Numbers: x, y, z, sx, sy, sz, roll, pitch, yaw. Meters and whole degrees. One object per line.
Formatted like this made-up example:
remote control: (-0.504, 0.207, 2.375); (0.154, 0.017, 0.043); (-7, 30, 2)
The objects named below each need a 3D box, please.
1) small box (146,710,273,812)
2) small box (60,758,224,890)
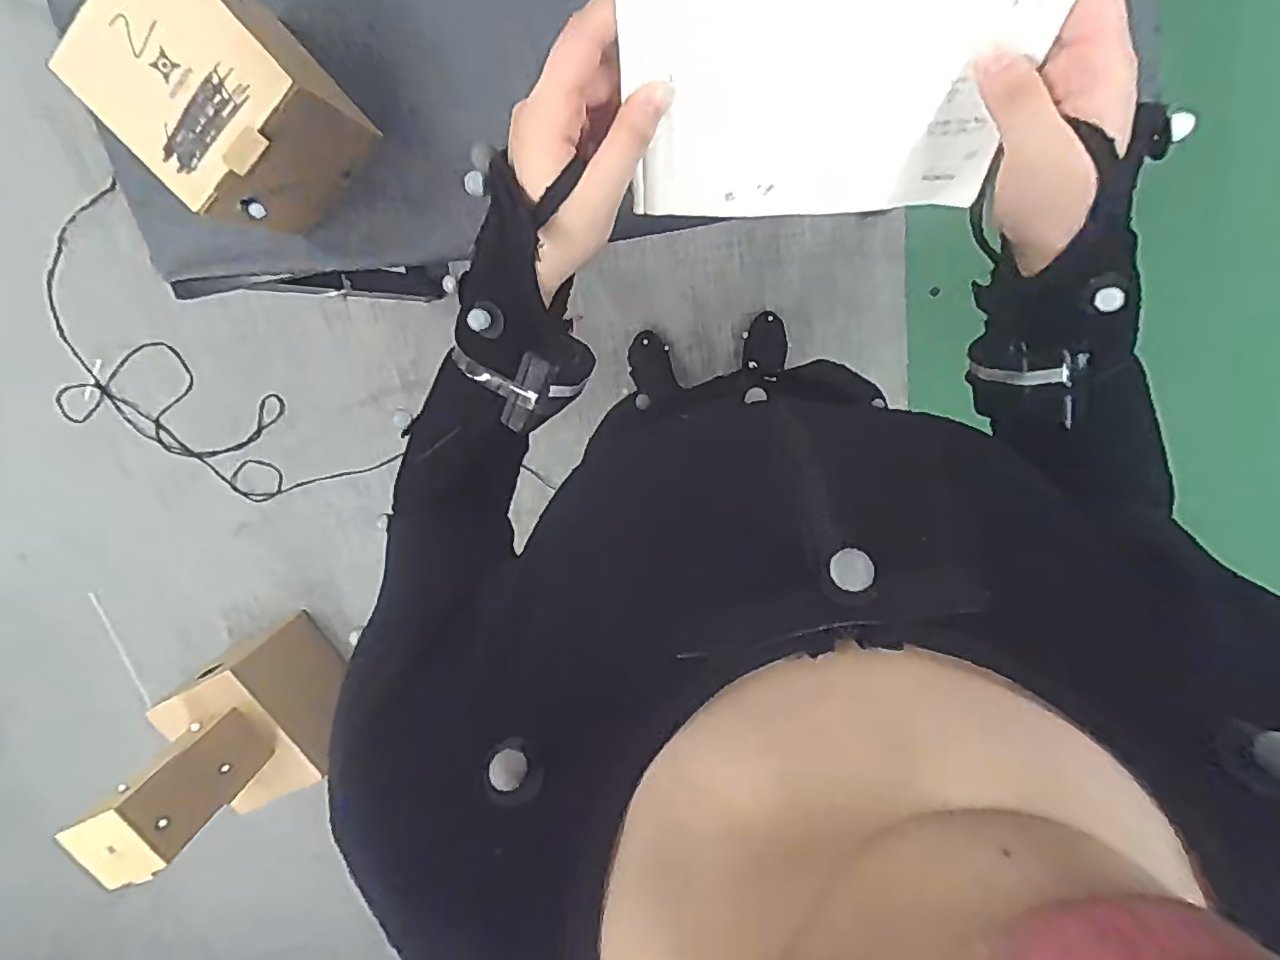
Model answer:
small box: (-1.101, 0.733, 1.385); (0.168, 0.176, 0.179); (-26, 103, 9)
small box: (-1.113, 0.766, 1.225); (0.168, 0.176, 0.179); (-26, 104, 8)
